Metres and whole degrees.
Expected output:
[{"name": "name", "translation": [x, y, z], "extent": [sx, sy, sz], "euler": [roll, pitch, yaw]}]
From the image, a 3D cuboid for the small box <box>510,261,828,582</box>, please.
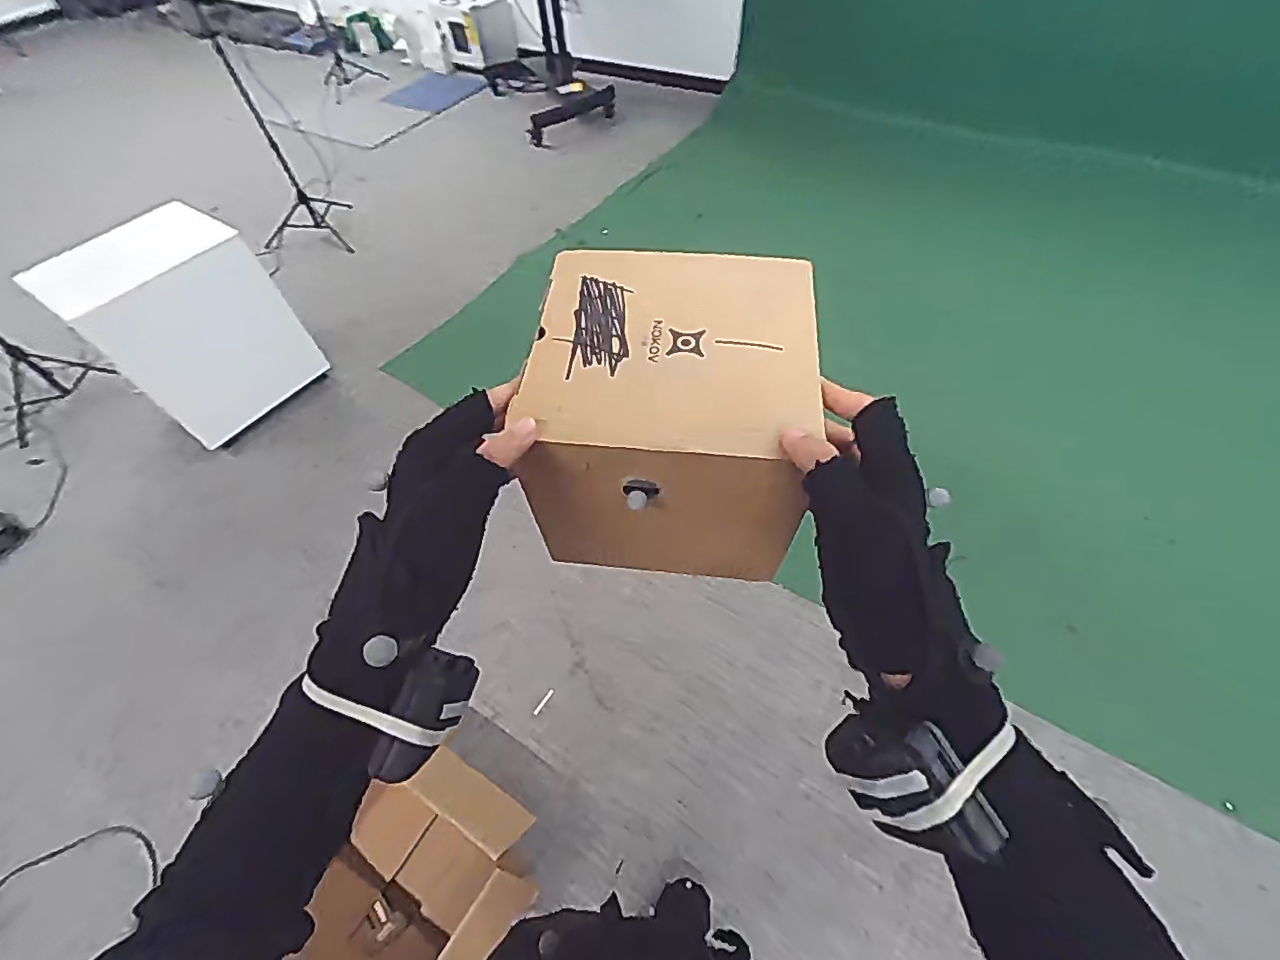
[{"name": "small box", "translation": [0.025, -0.035, 0.399], "extent": [0.179, 0.176, 0.168], "euler": [5, 58, 5]}]
